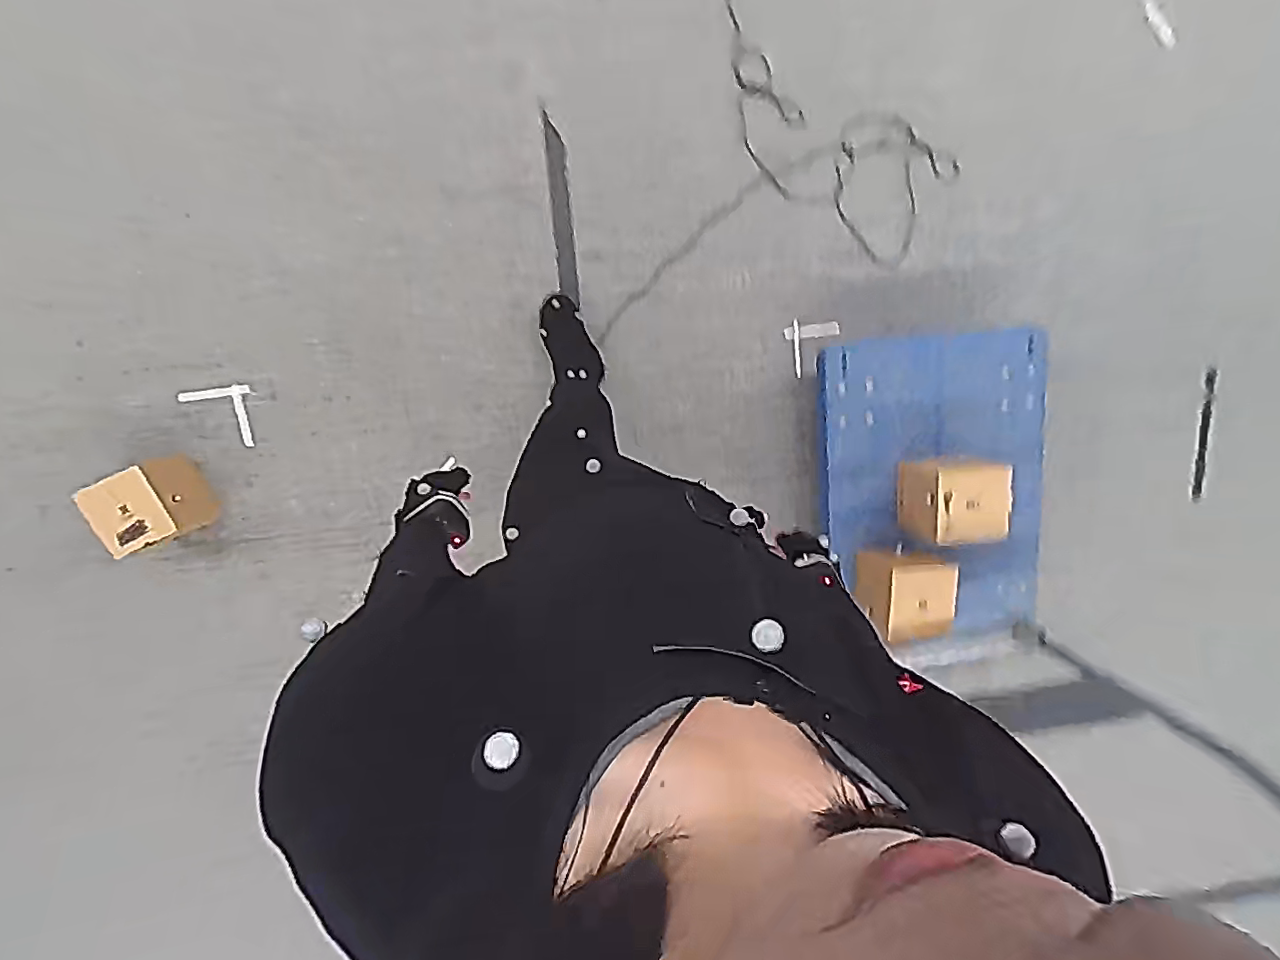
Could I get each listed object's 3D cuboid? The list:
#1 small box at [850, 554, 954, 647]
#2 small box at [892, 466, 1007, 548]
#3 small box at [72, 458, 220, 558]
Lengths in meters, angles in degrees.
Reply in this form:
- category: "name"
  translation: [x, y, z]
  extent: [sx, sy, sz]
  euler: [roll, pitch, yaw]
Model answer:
- category: "small box"
  translation: [0.637, 0.292, 1.336]
  extent: [0.168, 0.176, 0.179]
  euler: [-1, 98, -7]
- category: "small box"
  translation: [0.741, 0.059, 1.306]
  extent: [0.179, 0.176, 0.168]
  euler: [-4, 98, -6]
- category: "small box"
  translation: [-1.187, 0.061, 1.319]
  extent: [0.168, 0.176, 0.179]
  euler: [-24, 100, -1]
